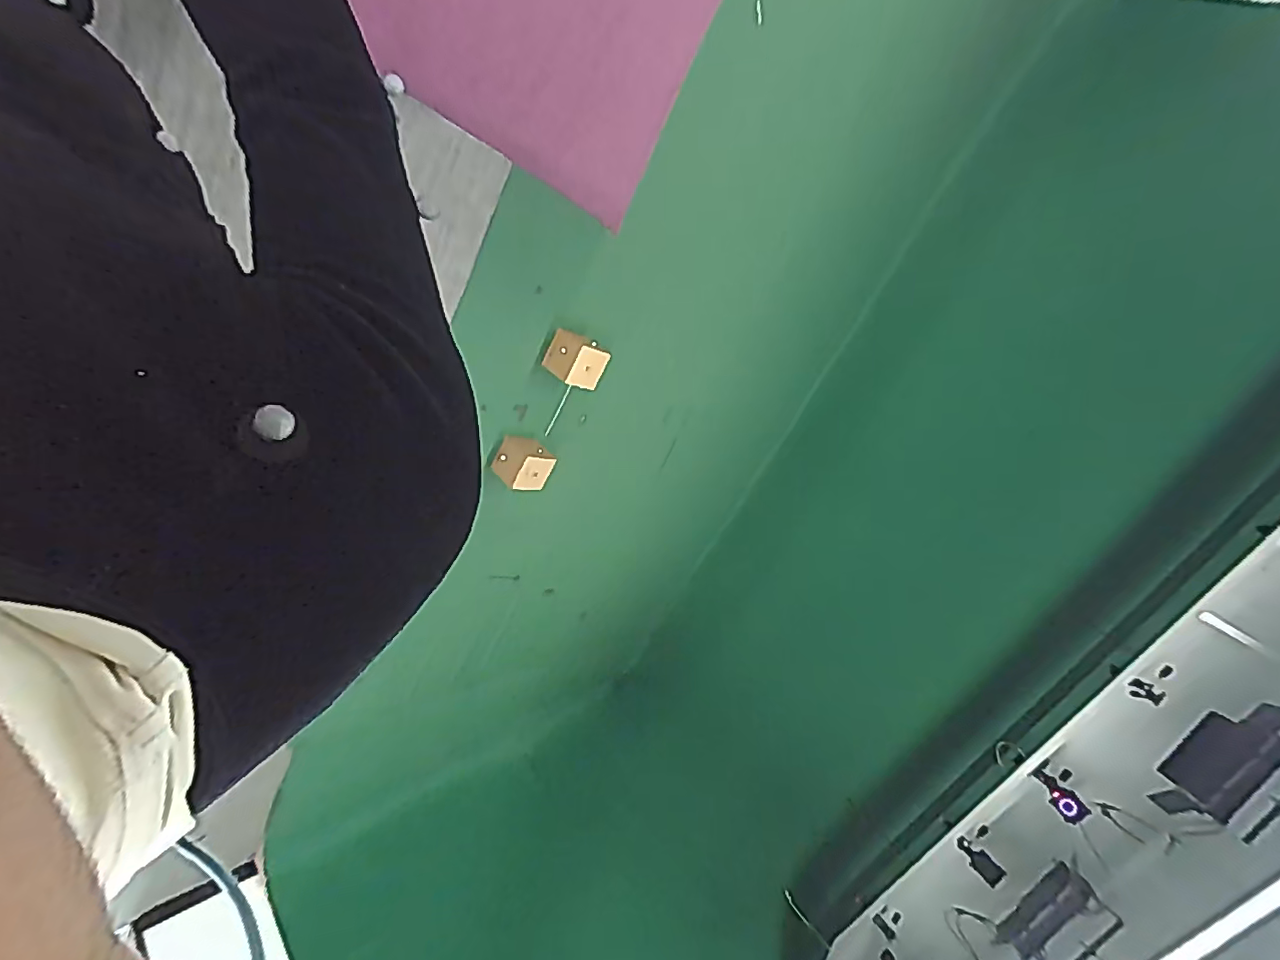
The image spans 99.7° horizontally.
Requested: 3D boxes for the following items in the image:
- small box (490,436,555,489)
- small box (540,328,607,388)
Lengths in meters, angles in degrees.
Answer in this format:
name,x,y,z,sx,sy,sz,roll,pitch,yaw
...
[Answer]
name,x,y,z,sx,sy,sz,roll,pitch,yaw
small box,-0.510,-0.077,2.337,0.179,0.176,0.168,3,121,-55
small box,-0.274,-0.495,2.187,0.179,0.176,0.168,1,123,-55
